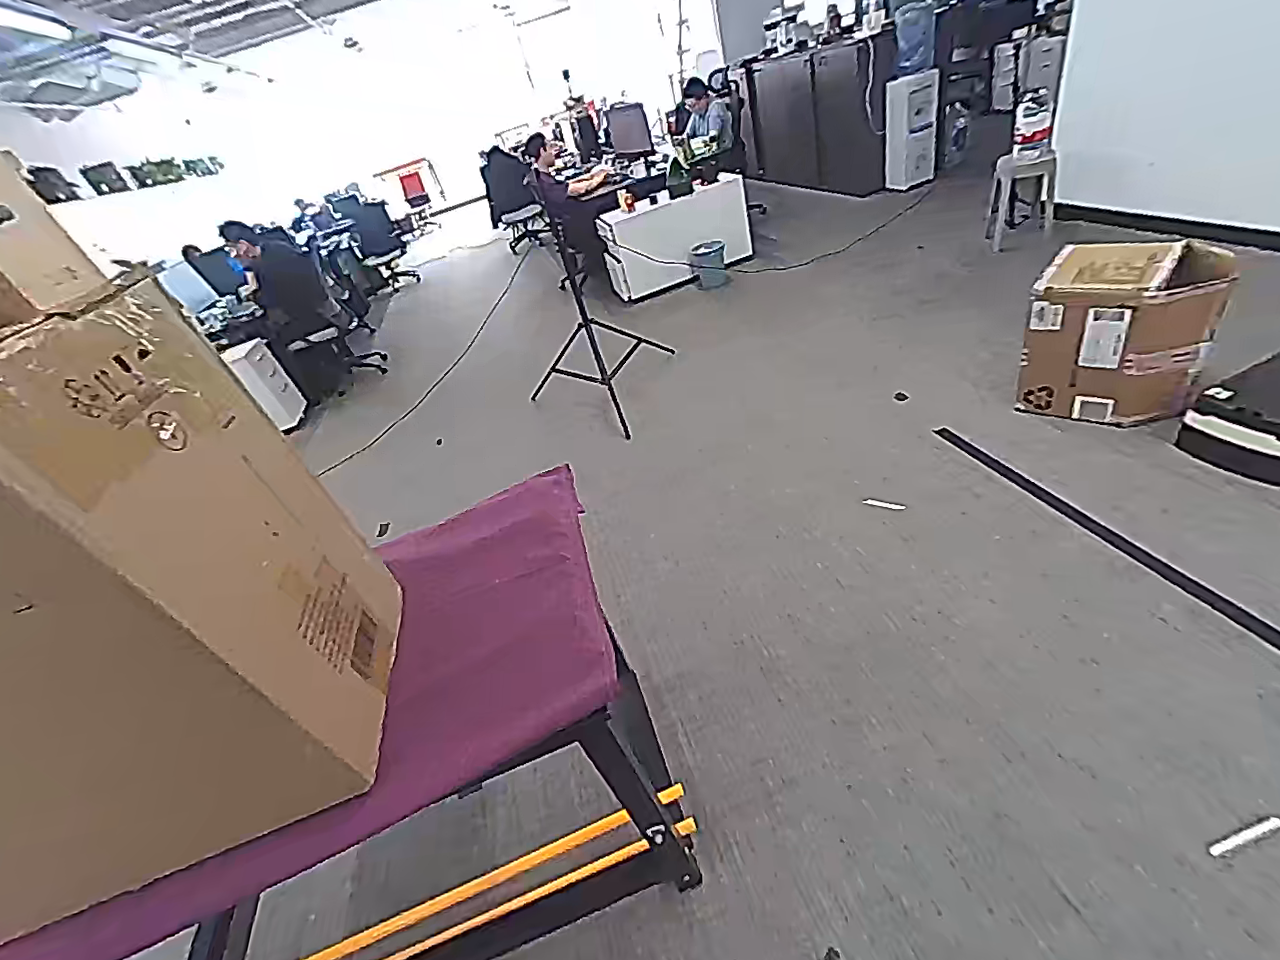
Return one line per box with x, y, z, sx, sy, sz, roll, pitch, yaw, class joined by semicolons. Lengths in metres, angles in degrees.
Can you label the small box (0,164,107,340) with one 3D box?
-0.730;-0.228;0.559;0.179;0.176;0.168;-26;36;-7;small box
